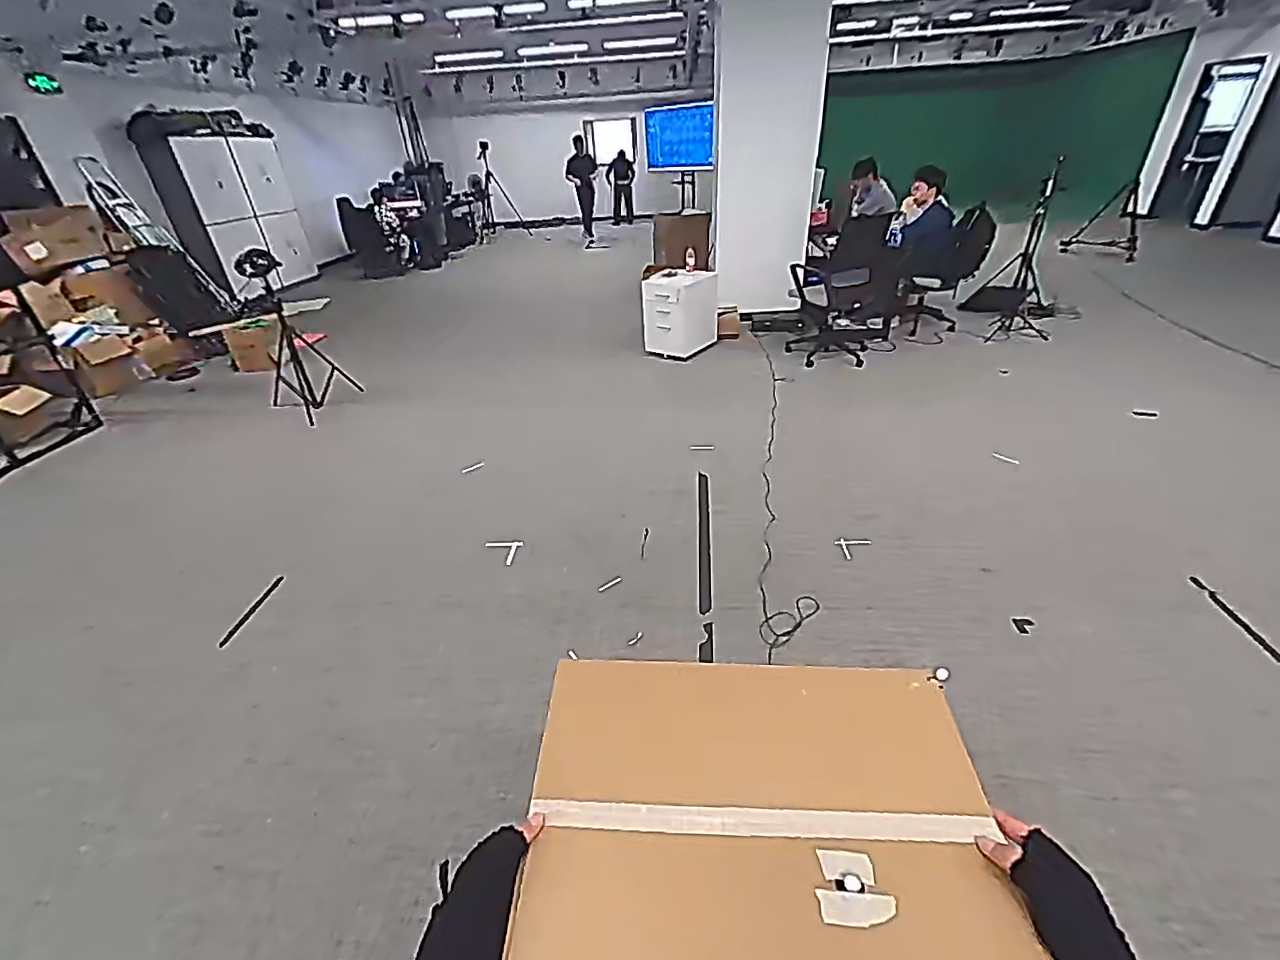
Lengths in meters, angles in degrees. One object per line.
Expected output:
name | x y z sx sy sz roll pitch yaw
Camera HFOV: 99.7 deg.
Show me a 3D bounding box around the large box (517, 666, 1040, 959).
large box | 0.110 0.423 0.574 0.408 0.320 0.320 1 39 4
